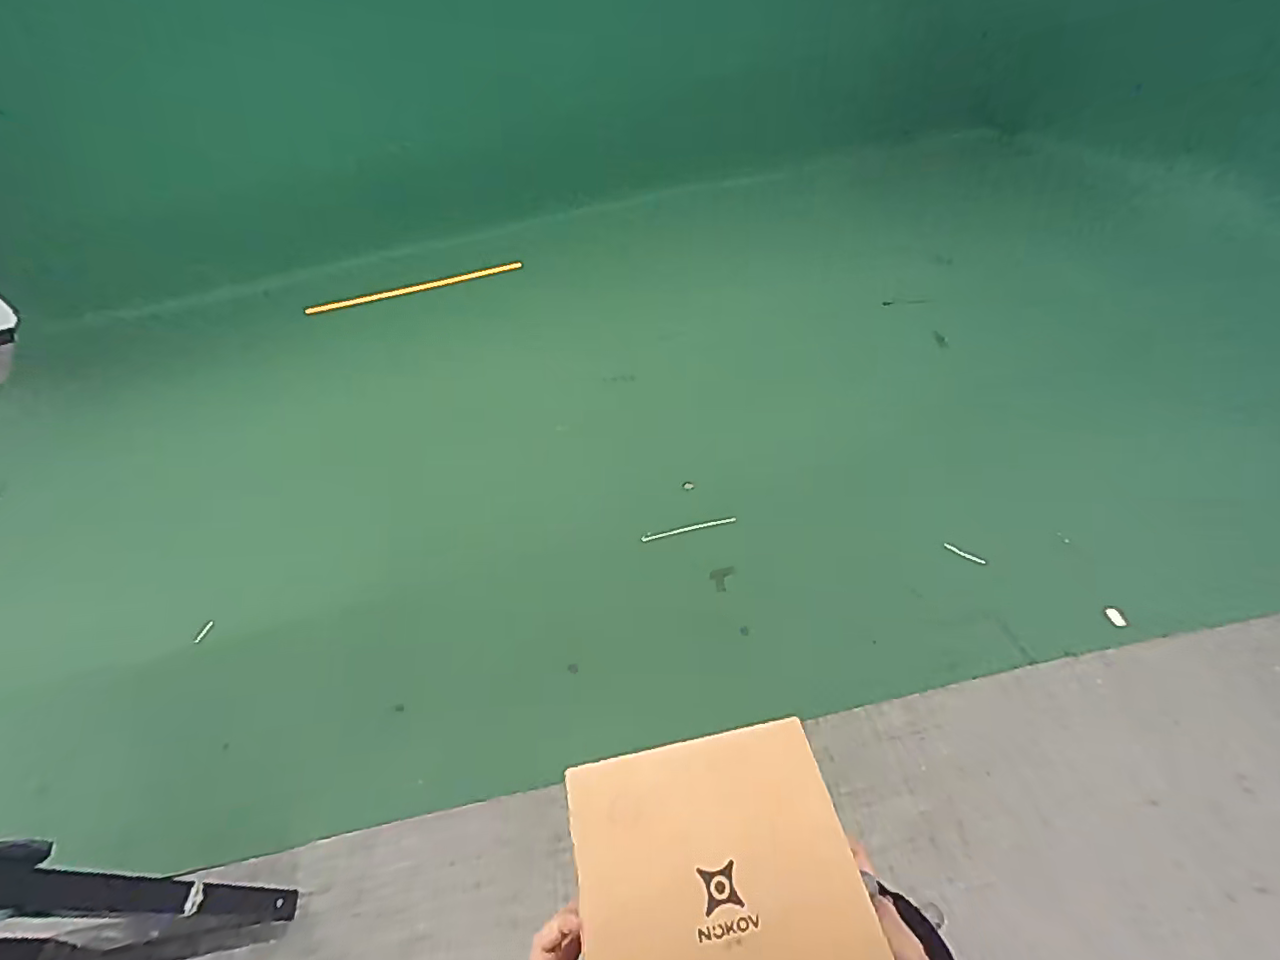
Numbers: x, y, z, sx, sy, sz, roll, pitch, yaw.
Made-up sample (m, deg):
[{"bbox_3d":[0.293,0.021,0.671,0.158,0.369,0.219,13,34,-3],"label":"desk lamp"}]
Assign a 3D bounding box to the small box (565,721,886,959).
[{"bbox_3d":[0.046,0.298,0.369,0.168,0.176,0.179,-10,46,-7],"label":"small box"}]
